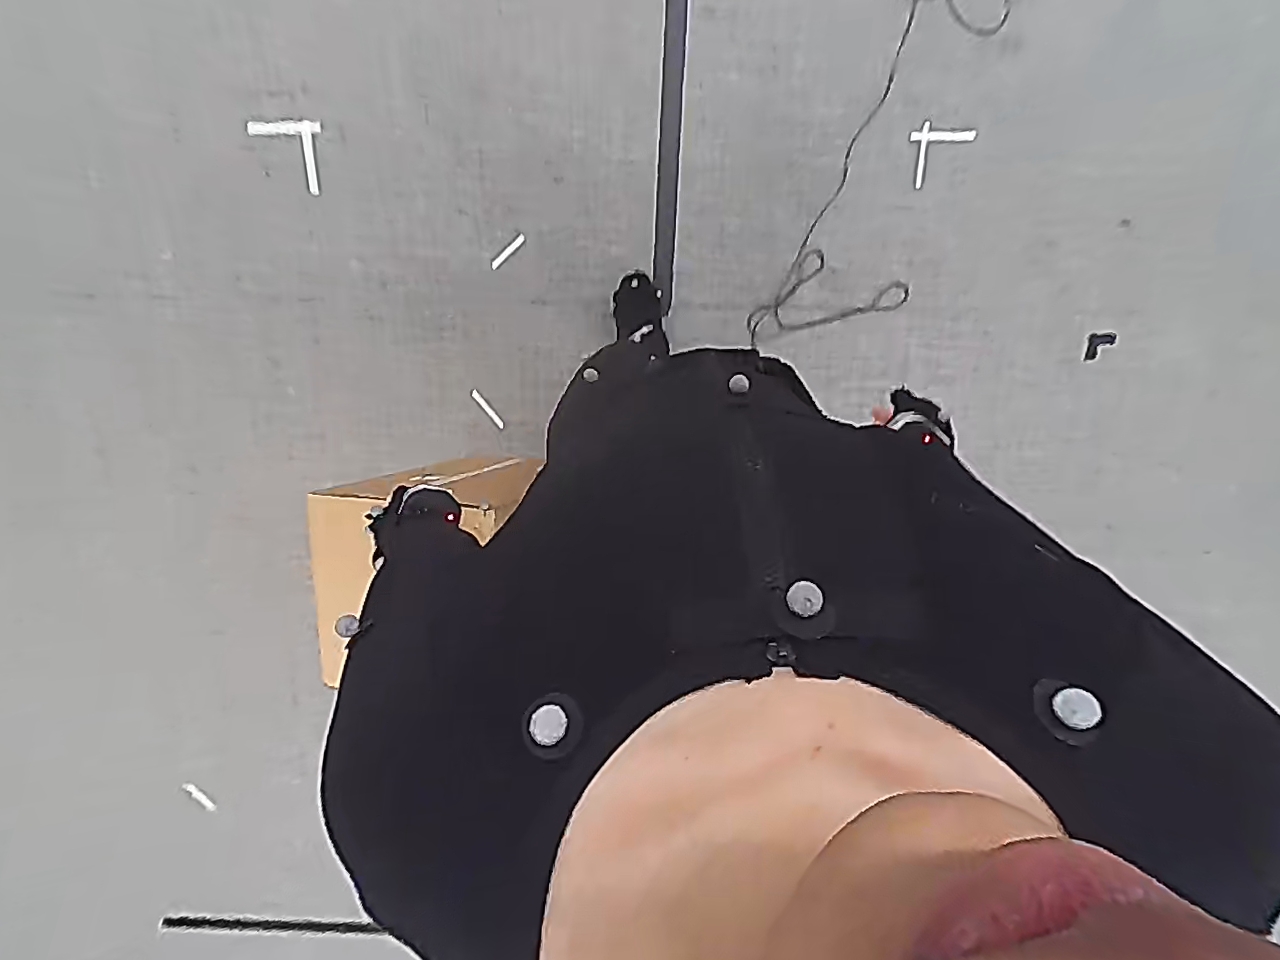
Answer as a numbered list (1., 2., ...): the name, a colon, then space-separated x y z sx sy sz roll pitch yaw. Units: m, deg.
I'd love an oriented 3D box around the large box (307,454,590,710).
1. large box: -0.299 0.140 0.969 0.320 0.408 0.320 3 101 16
